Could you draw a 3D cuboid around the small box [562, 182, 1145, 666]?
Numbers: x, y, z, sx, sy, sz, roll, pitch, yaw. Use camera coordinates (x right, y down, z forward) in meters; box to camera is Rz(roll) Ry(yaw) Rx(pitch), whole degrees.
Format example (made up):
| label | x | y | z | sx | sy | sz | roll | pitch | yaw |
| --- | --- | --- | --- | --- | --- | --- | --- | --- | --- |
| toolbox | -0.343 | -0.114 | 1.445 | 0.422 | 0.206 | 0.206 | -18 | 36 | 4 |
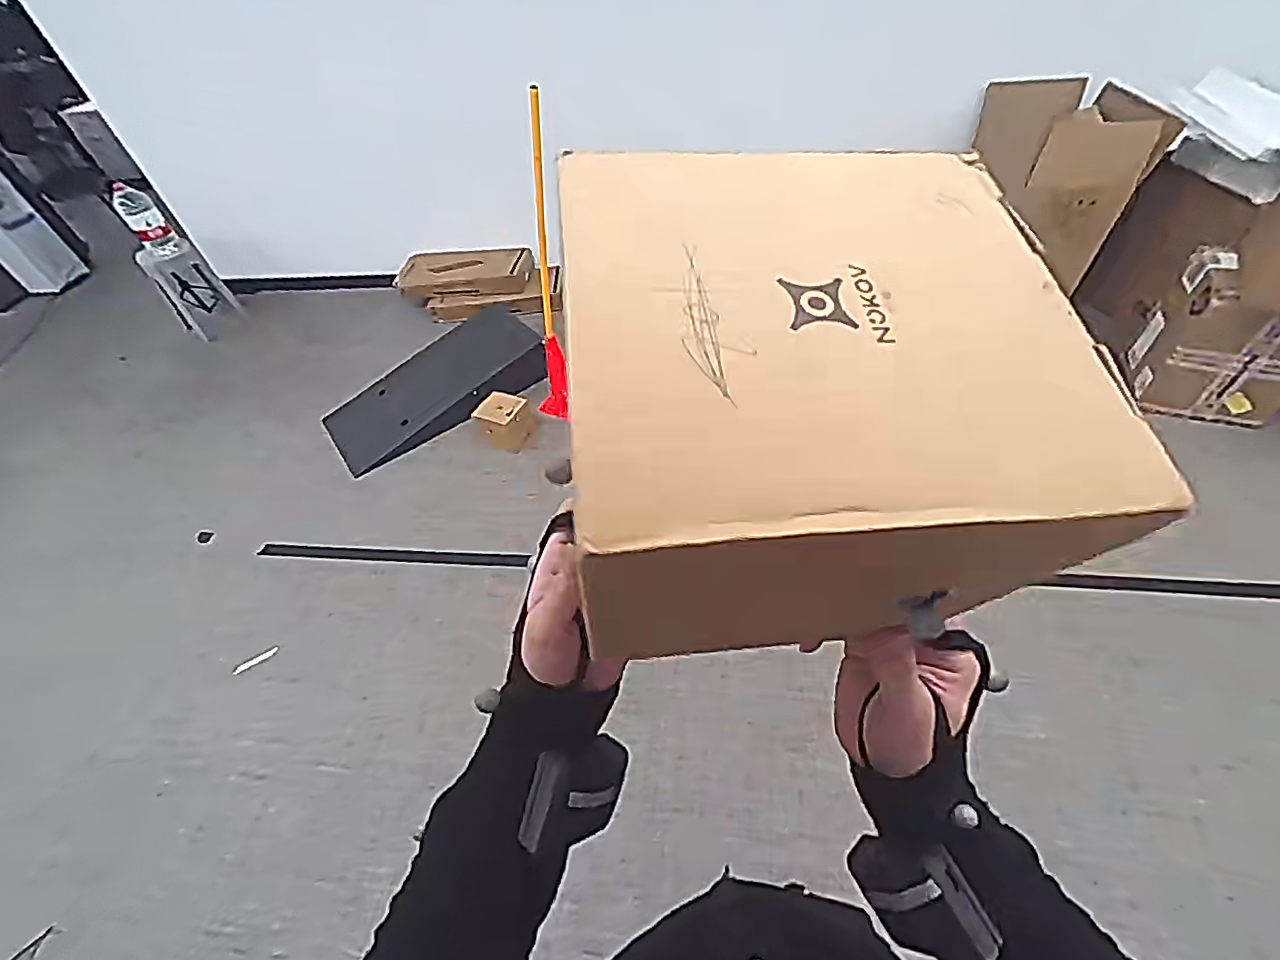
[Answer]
| label | x | y | z | sx | sy | sz | roll | pitch | yaw |
| --- | --- | --- | --- | --- | --- | --- | --- | --- | --- |
| small box | 0.058 | -0.014 | 0.264 | 0.179 | 0.176 | 0.168 | -5 | 62 | -6 |
